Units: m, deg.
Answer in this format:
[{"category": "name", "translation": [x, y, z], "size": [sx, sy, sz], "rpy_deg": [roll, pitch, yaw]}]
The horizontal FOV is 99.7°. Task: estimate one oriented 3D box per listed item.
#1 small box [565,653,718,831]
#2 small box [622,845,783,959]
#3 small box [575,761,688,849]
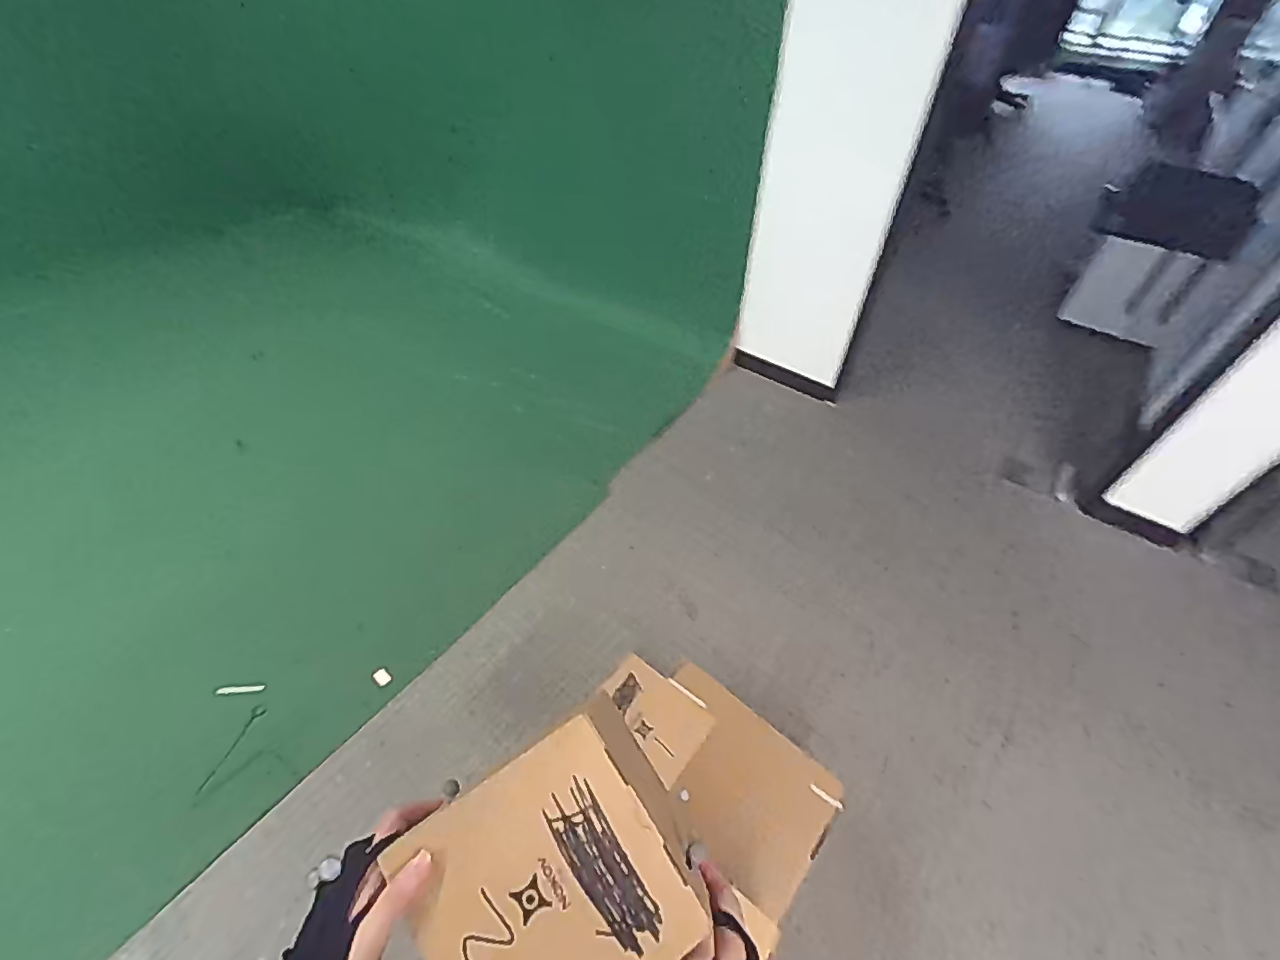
[{"category": "small box", "translation": [0.002, 0.424, 0.870], "size": [0.179, 0.176, 0.168], "rpy_deg": [31, 54, 26]}, {"category": "small box", "translation": [0.090, 0.712, 0.834], "size": [0.179, 0.176, 0.168], "rpy_deg": [31, 54, 24]}, {"category": "small box", "translation": [-0.003, 0.532, 0.996], "size": [0.168, 0.176, 0.179], "rpy_deg": [32, 53, 26]}]
